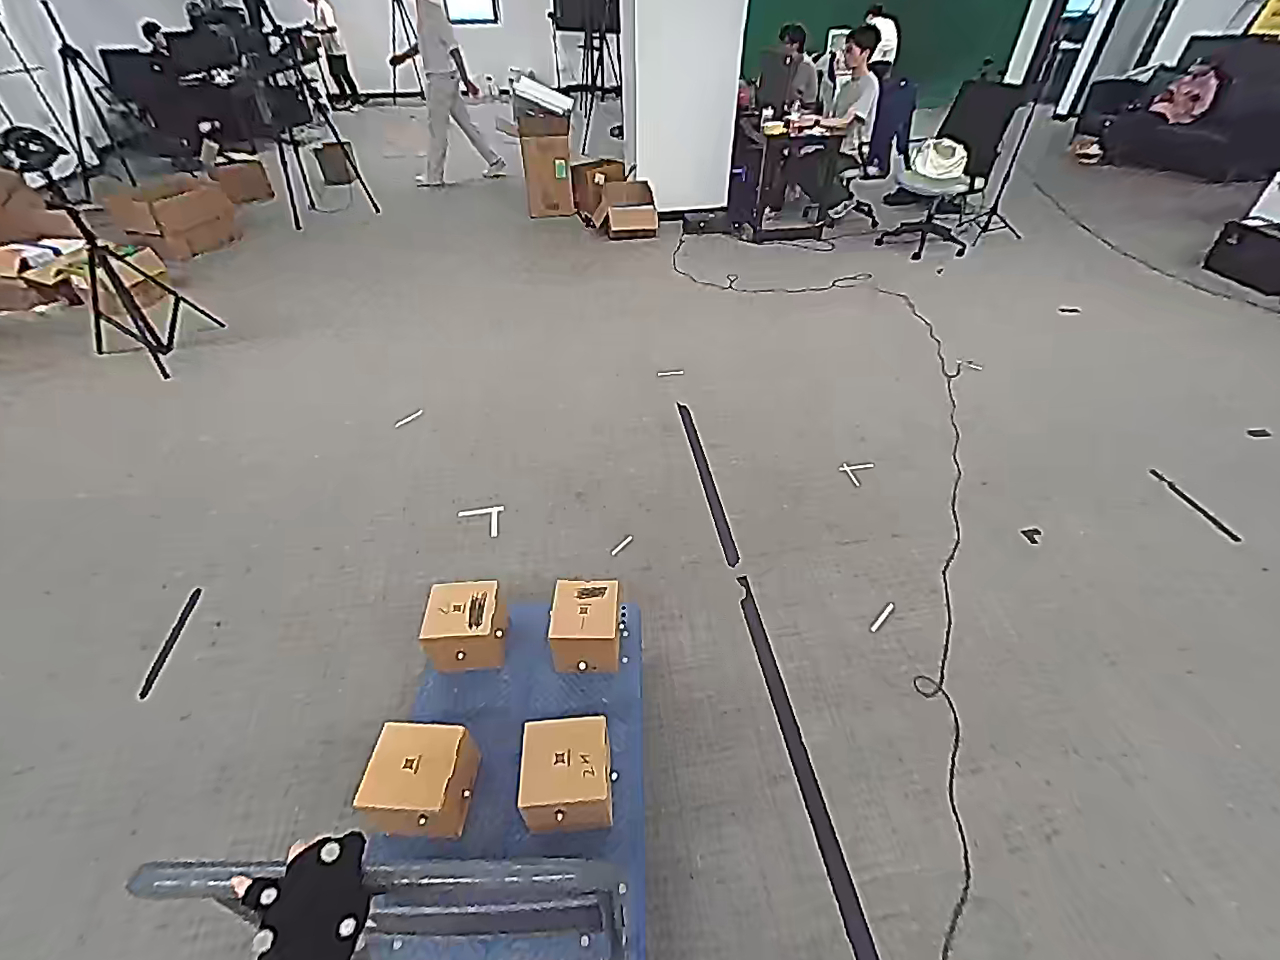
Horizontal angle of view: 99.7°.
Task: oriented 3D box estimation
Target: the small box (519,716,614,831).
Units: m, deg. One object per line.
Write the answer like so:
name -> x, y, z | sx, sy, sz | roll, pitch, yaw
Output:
small box -> -0.149, 0.627, 1.152 | 0.179, 0.176, 0.168 | -3, 42, -2

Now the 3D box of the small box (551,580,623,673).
small box -> -0.133, 0.385, 1.424 | 0.168, 0.176, 0.179 | 0, 43, 2

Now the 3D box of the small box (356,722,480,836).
small box -> -0.458, 0.637, 1.150 | 0.179, 0.176, 0.168 | 3, 41, 2
